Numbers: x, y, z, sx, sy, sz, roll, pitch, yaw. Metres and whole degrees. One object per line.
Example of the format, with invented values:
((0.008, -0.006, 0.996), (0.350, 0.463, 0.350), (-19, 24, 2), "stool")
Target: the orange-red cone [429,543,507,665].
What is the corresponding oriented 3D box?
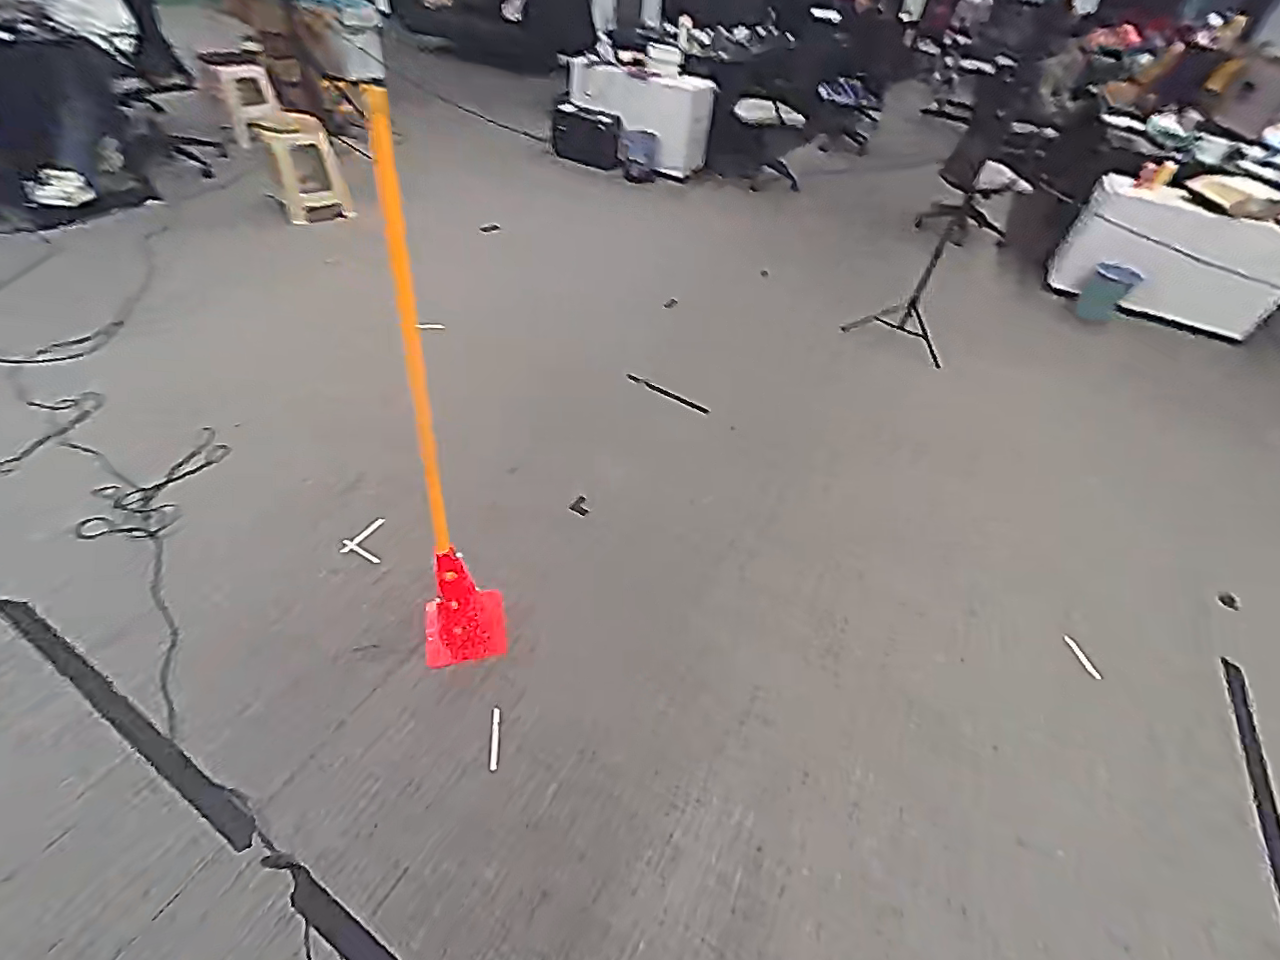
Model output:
((-0.448, 0.276, 1.326), (0.198, 0.360, 0.199), (-7, 49, -13), "orange-red cone")
